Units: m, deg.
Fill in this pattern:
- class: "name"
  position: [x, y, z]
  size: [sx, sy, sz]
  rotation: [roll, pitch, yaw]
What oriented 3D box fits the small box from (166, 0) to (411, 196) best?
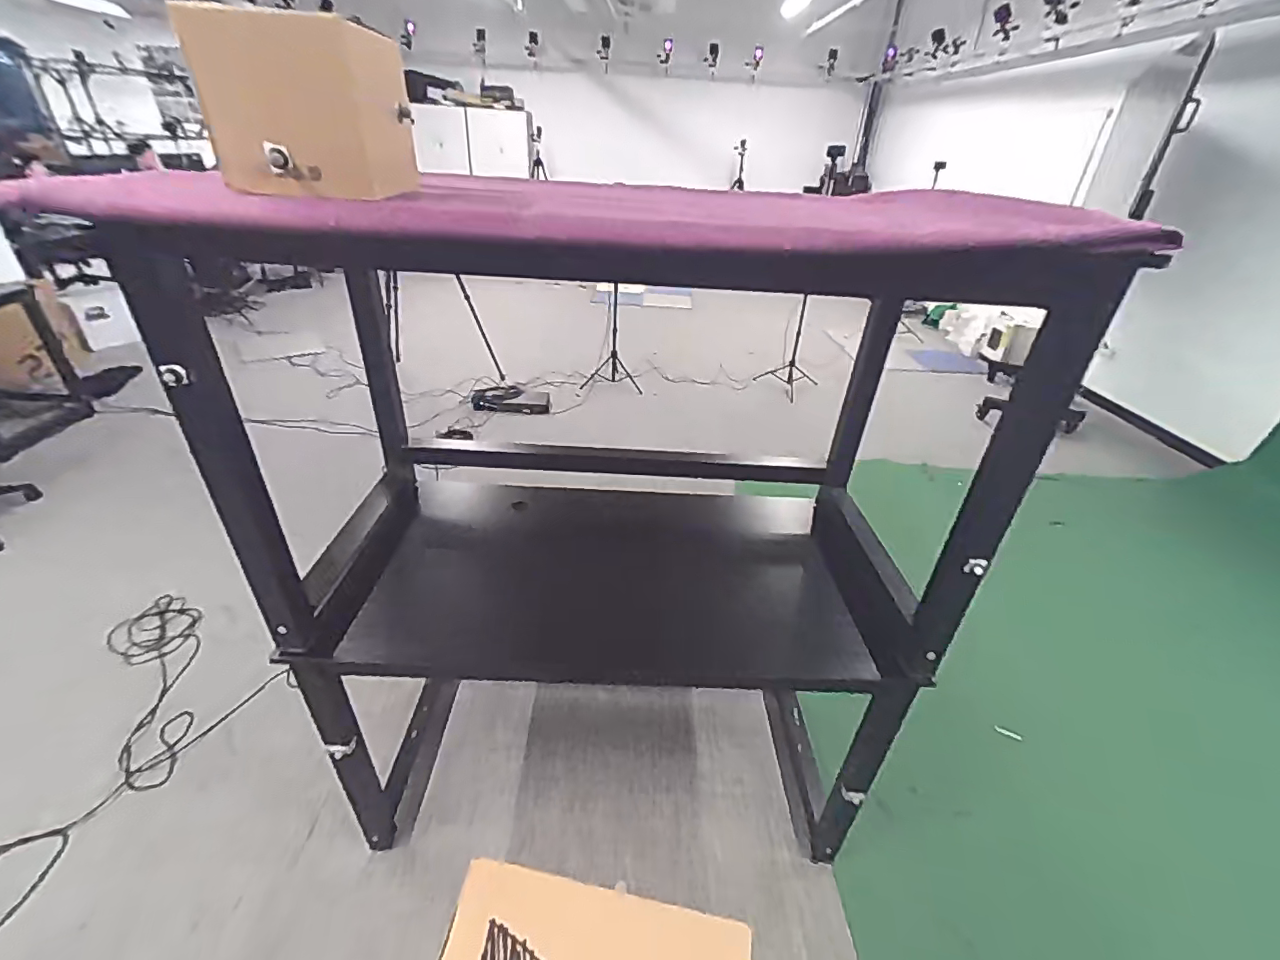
- class: "small box"
  position: [-0.383, -0.438, 0.631]
  size: [0.168, 0.176, 0.179]
  rotation: [0, 33, -4]
